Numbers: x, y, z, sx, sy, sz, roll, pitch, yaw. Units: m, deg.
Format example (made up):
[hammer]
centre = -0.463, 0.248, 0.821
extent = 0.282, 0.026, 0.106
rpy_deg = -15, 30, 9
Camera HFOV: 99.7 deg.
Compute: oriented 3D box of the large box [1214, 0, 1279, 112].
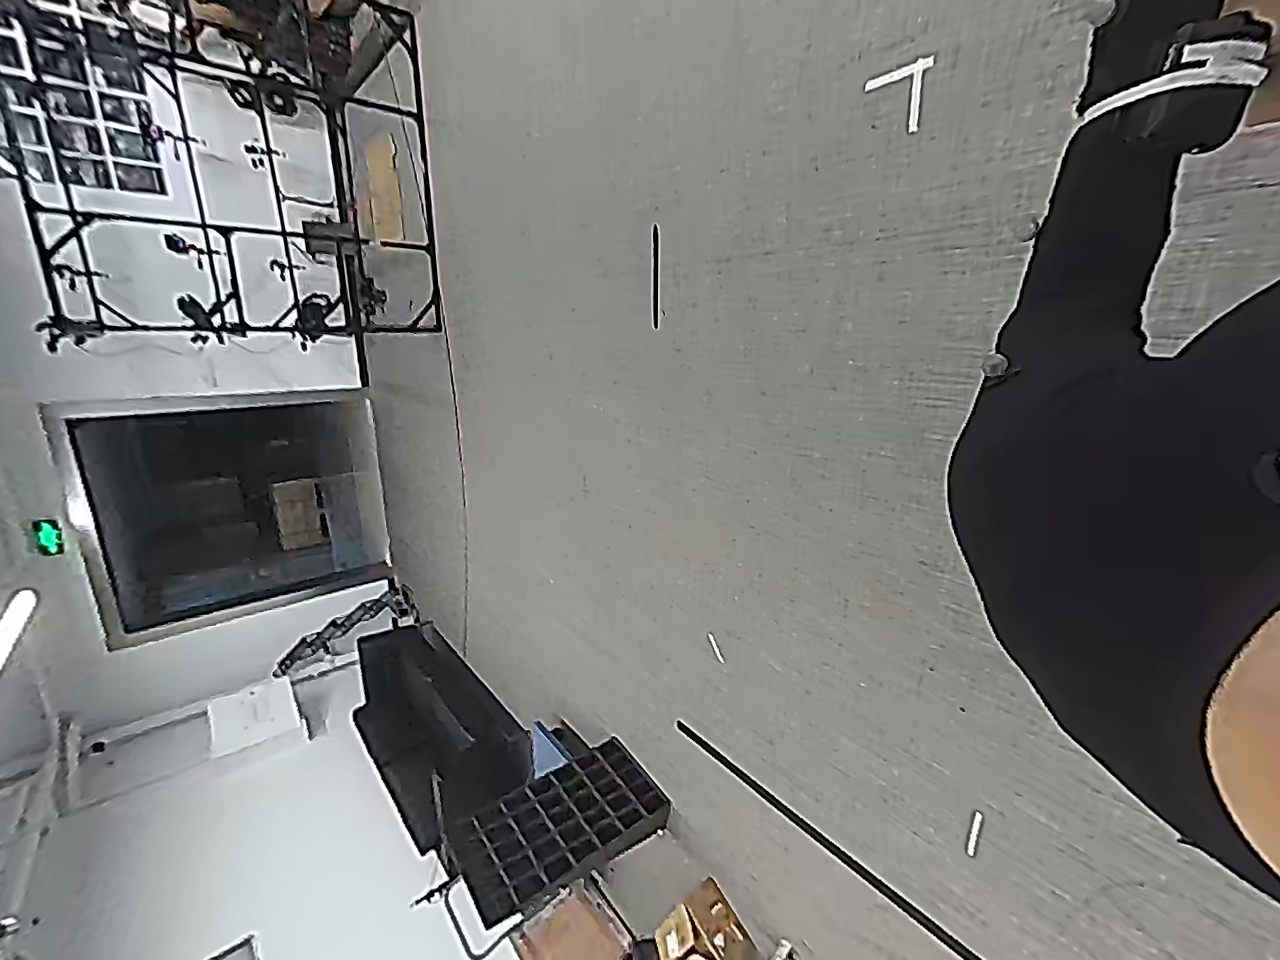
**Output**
[large box]
centre = 0.613, -0.437, 0.264
extent = 0.408, 0.320, 0.320
rpy_deg = 17, 119, 47
